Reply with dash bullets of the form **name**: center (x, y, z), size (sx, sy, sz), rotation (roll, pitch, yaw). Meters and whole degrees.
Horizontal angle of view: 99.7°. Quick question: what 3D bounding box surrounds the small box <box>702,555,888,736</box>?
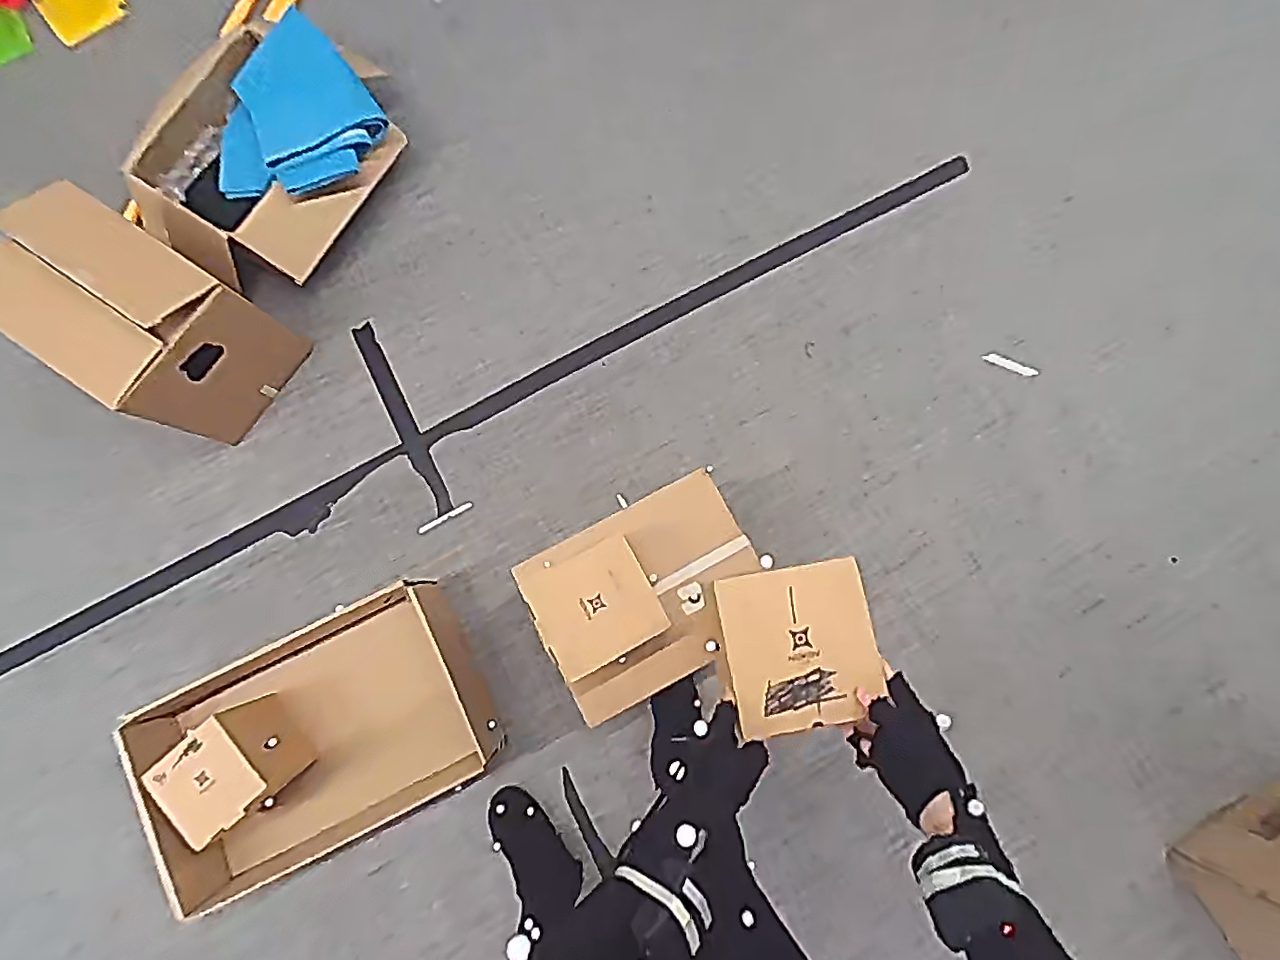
- **small box**: center (0.178, 0.195, 0.676), size (0.168, 0.176, 0.179), rotation (-10, 78, -1)

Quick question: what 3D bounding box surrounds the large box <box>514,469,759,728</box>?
- **large box**: center (0.012, 0.230, 1.112), size (0.408, 0.320, 0.320), rotation (-28, 82, -6)
